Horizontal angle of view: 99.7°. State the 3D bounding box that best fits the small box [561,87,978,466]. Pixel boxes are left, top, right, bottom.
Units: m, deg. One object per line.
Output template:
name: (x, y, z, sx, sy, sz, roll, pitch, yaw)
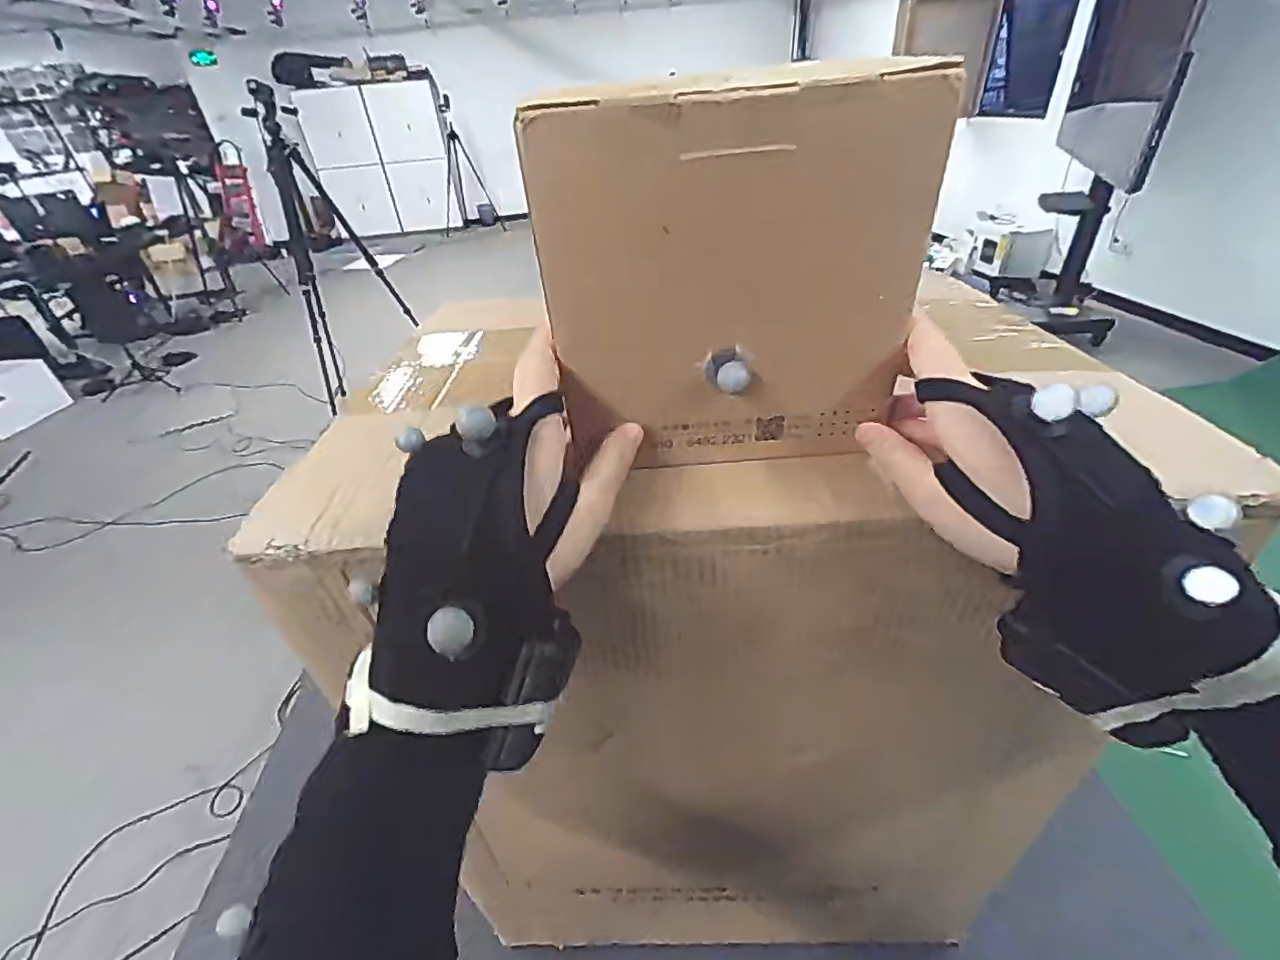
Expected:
small box: (0.053, -0.125, 0.324, 0.168, 0.176, 0.179, -4, 37, 2)
